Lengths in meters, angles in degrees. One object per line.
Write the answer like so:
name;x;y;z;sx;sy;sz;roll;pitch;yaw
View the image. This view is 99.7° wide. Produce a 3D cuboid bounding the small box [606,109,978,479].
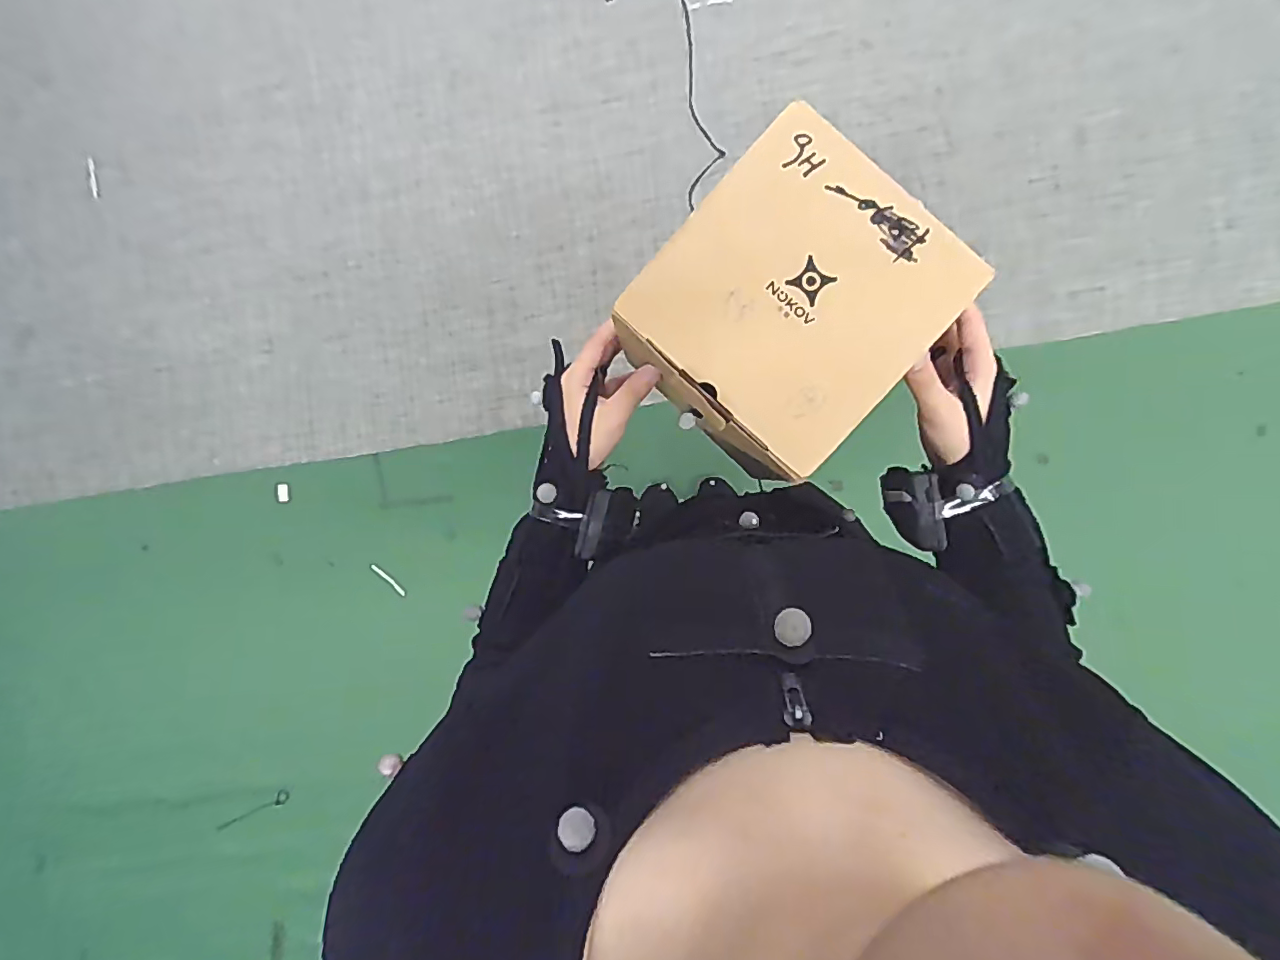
small box;0.100;-0.118;0.421;0.168;0.176;0.179;43;94;1
